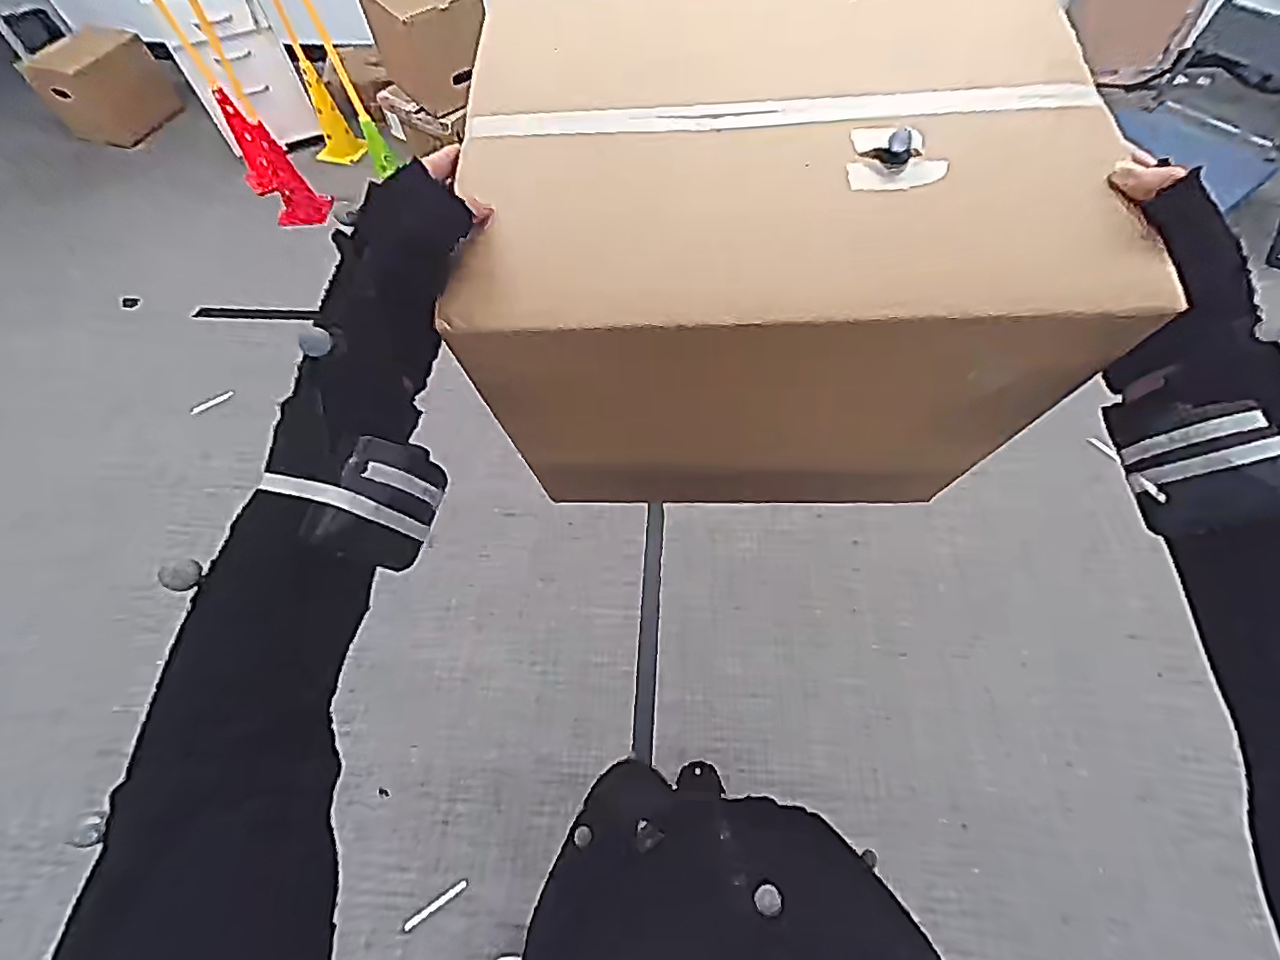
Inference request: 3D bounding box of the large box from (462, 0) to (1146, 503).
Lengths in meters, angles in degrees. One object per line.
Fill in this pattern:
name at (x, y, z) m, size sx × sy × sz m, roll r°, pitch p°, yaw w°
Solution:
large box at (0.095, -0.174, 0.505) m, size 0.408 × 0.320 × 0.320 m, roll -1°, pitch 70°, yaw 3°
